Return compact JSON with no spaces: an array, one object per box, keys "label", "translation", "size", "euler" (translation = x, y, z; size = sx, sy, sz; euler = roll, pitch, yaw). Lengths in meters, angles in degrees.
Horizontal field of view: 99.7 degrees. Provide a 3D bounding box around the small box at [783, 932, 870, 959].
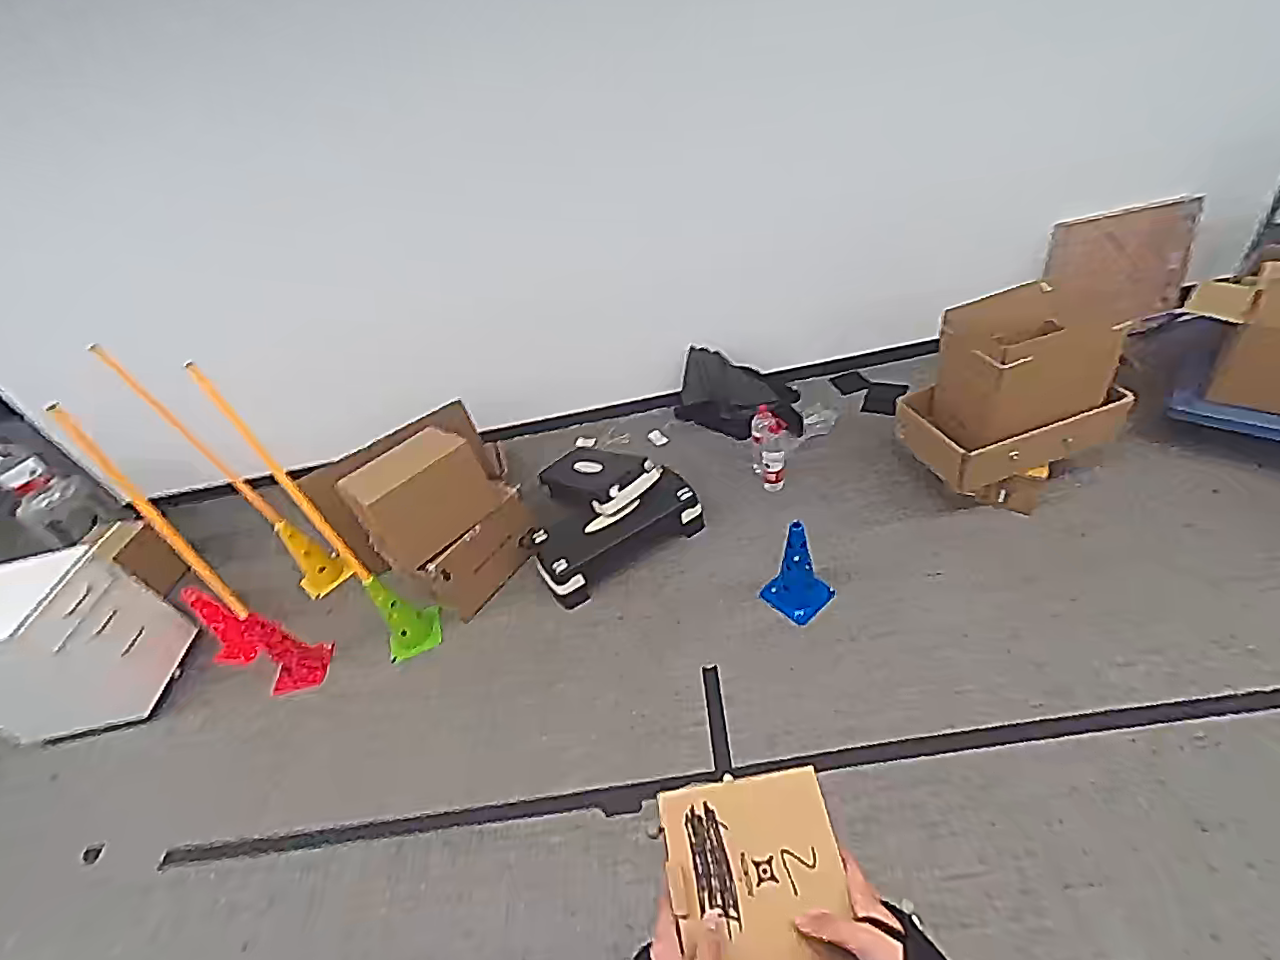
[{"label":"small box","translation":[0.399,1.057,1.099],"size":[0.168,0.176,0.179],"euler":[-13,40,3]}]
